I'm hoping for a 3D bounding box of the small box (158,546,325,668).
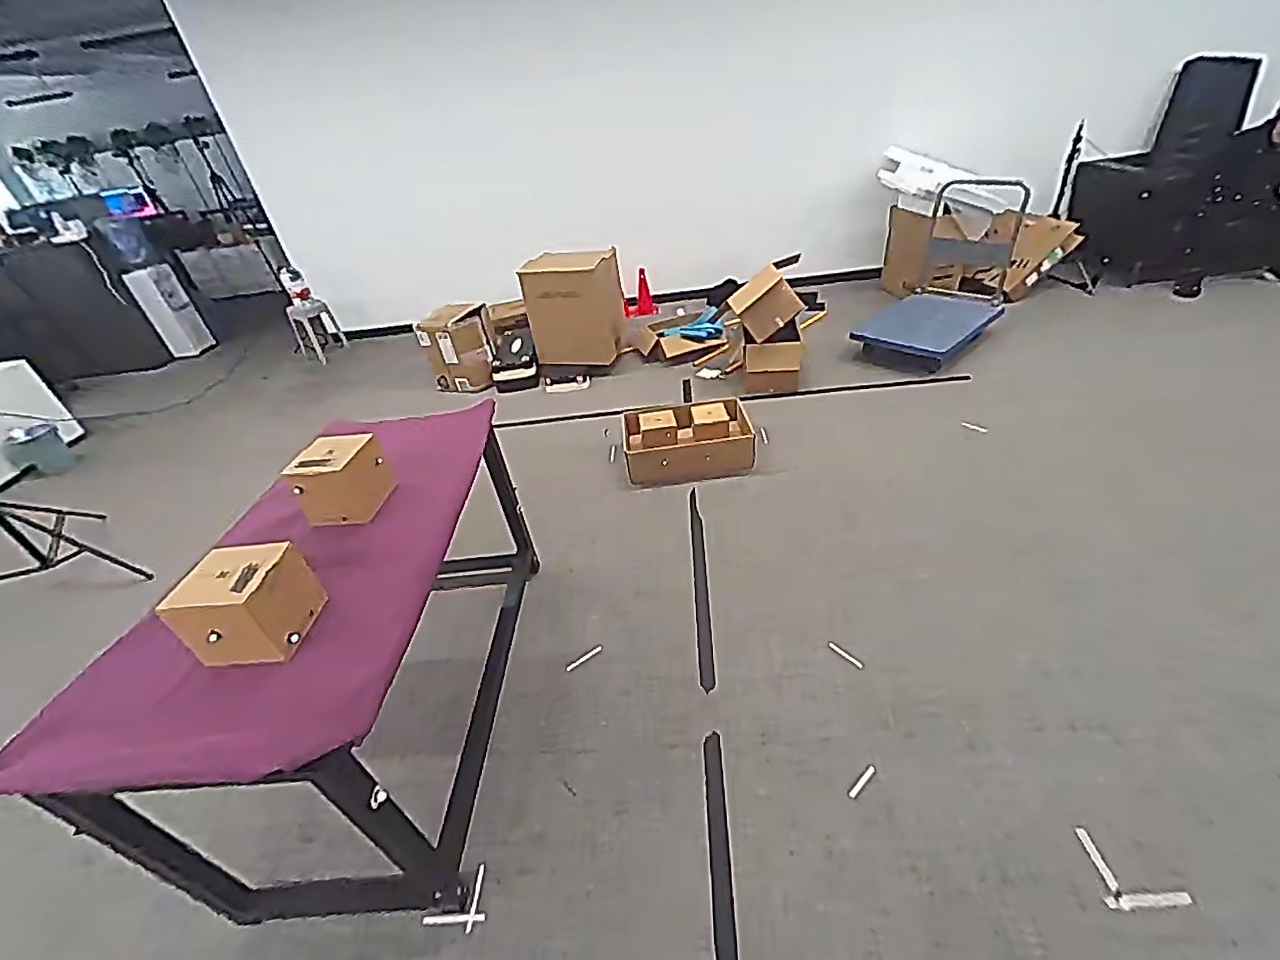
[{"bbox_3d":[-0.774,0.253,1.077,0.179,0.176,0.168,-6,35,5],"label":"small box"}]

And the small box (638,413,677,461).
[{"bbox_3d":[0.090,-0.214,2.718,0.179,0.176,0.168,-8,34,-1],"label":"small box"}]

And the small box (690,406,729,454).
[{"bbox_3d":[0.348,-0.249,2.714,0.168,0.176,0.179,-9,35,2],"label":"small box"}]
